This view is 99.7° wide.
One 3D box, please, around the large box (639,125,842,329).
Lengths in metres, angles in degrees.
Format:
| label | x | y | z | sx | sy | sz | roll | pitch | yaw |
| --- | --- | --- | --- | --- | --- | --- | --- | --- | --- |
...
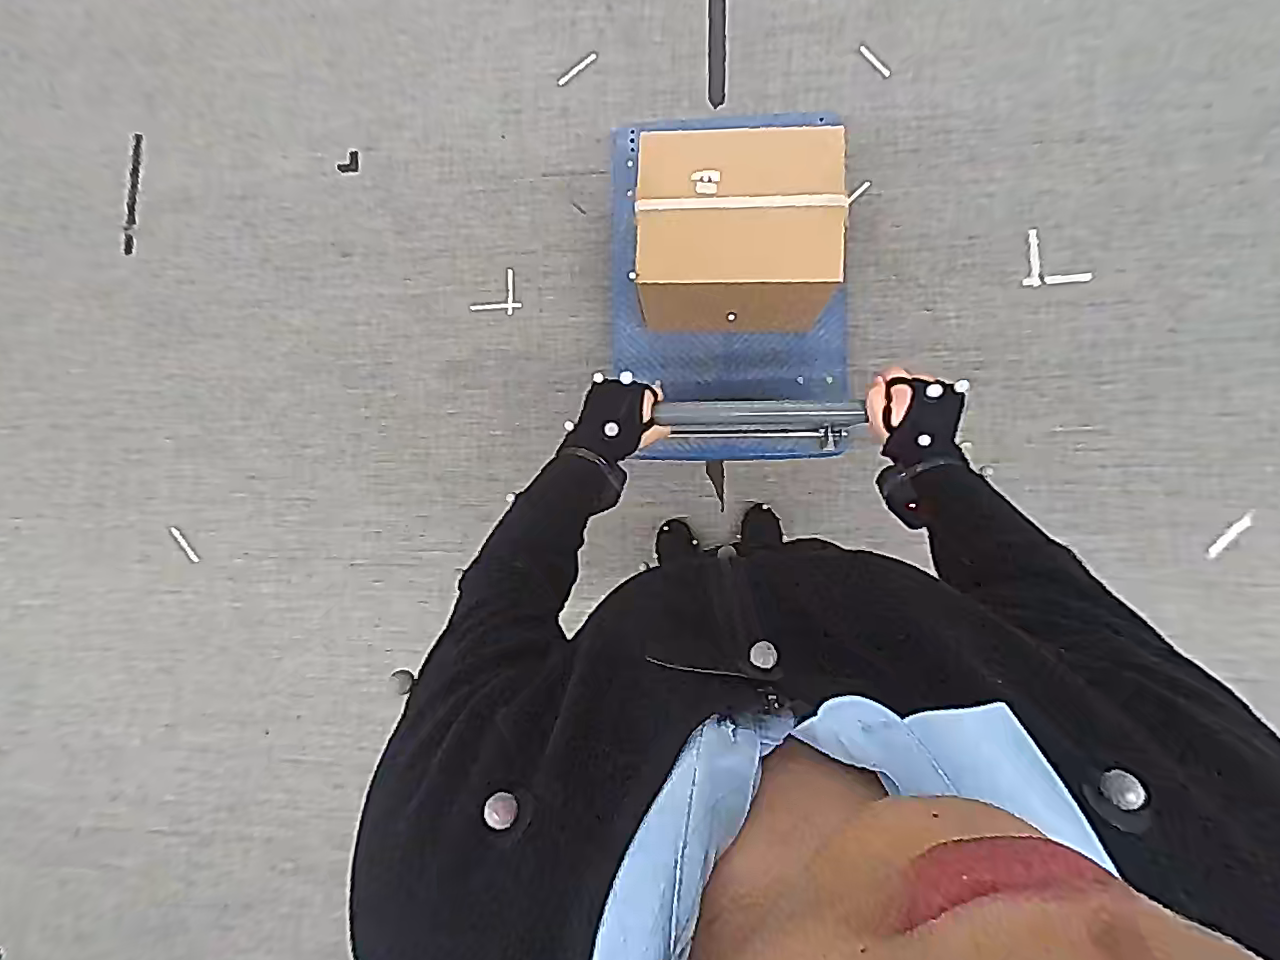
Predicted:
| label | x | y | z | sx | sy | sz | roll | pitch | yaw |
| --- | --- | --- | --- | --- | --- | --- | --- | --- | --- |
| large box | 0.214 | -0.540 | 1.224 | 0.408 | 0.320 | 0.320 | 1 | 86 | 6 |
